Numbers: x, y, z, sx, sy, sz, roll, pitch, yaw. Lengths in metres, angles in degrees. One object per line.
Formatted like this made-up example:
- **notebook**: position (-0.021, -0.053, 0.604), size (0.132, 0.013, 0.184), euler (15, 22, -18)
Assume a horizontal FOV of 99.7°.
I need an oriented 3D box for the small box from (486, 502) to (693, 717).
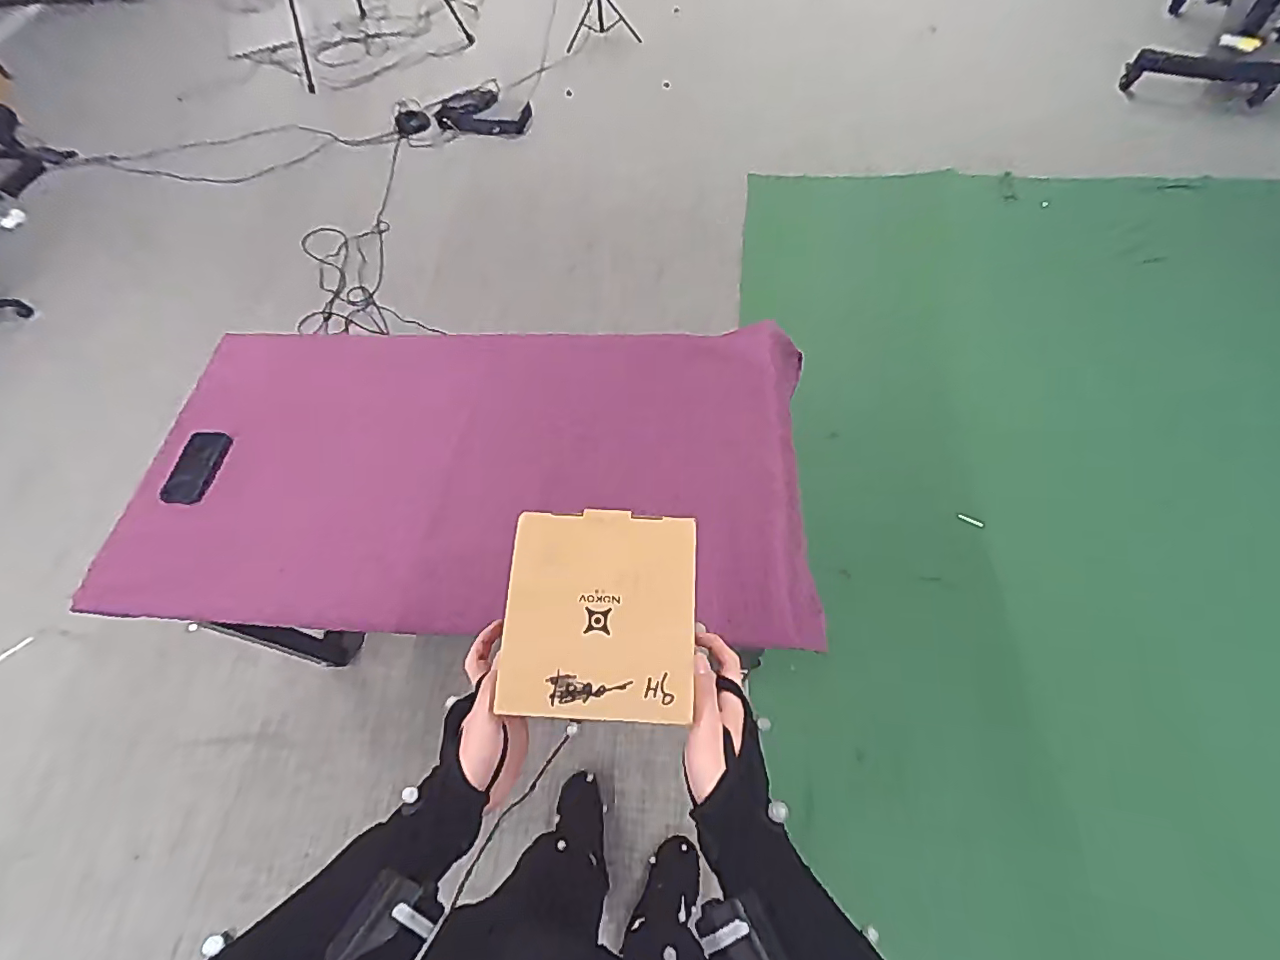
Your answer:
- **small box**: position (-0.035, 0.134, 0.536), size (0.168, 0.176, 0.179), euler (2, 68, 4)
